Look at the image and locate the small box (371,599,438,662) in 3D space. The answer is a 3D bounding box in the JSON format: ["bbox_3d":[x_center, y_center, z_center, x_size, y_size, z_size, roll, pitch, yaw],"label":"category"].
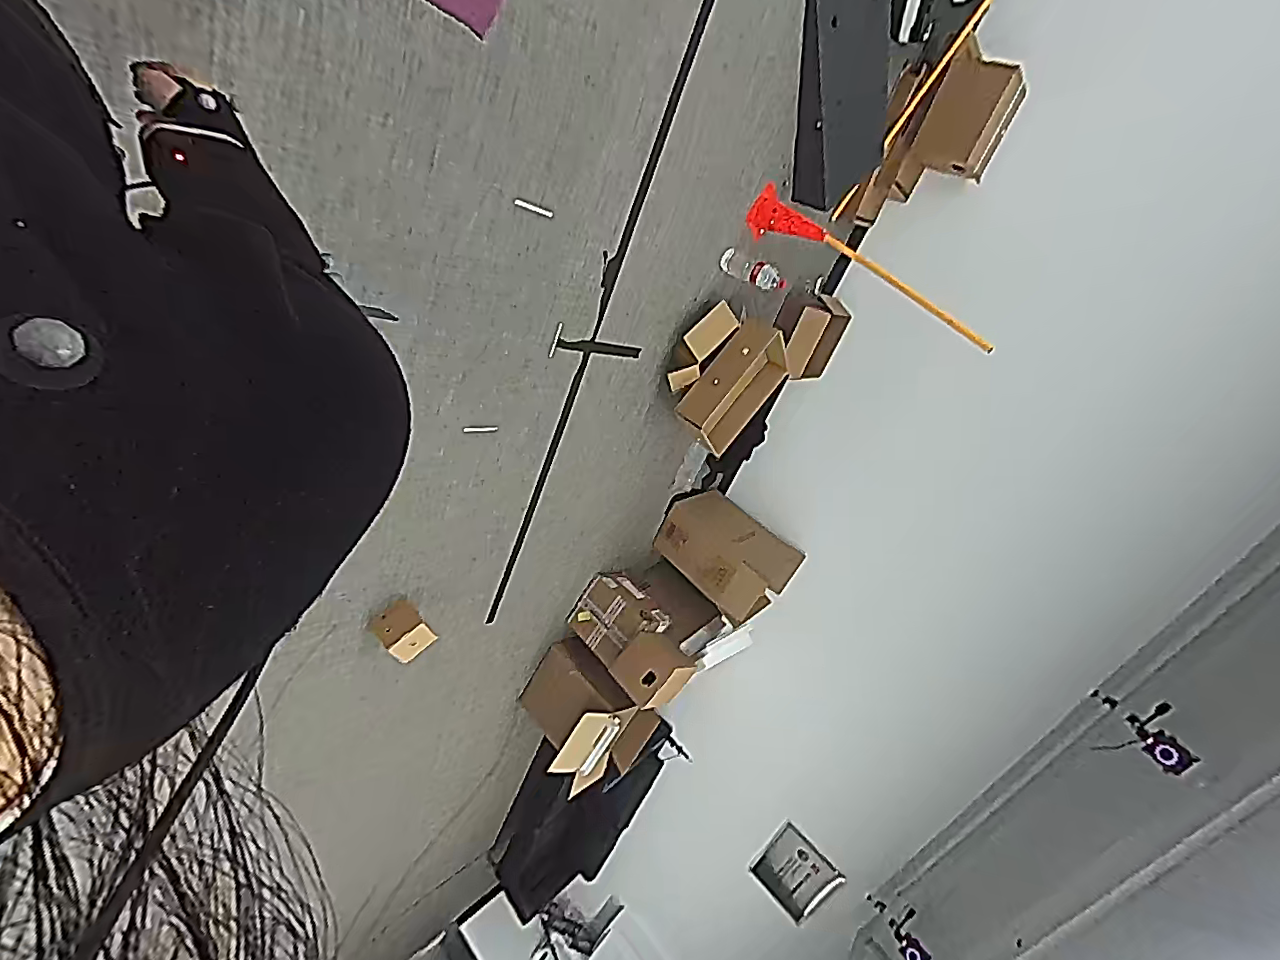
[{"bbox_3d":[-0.995,0.627,2.277,0.168,0.176,0.179,-39,151,-21],"label":"small box"}]
